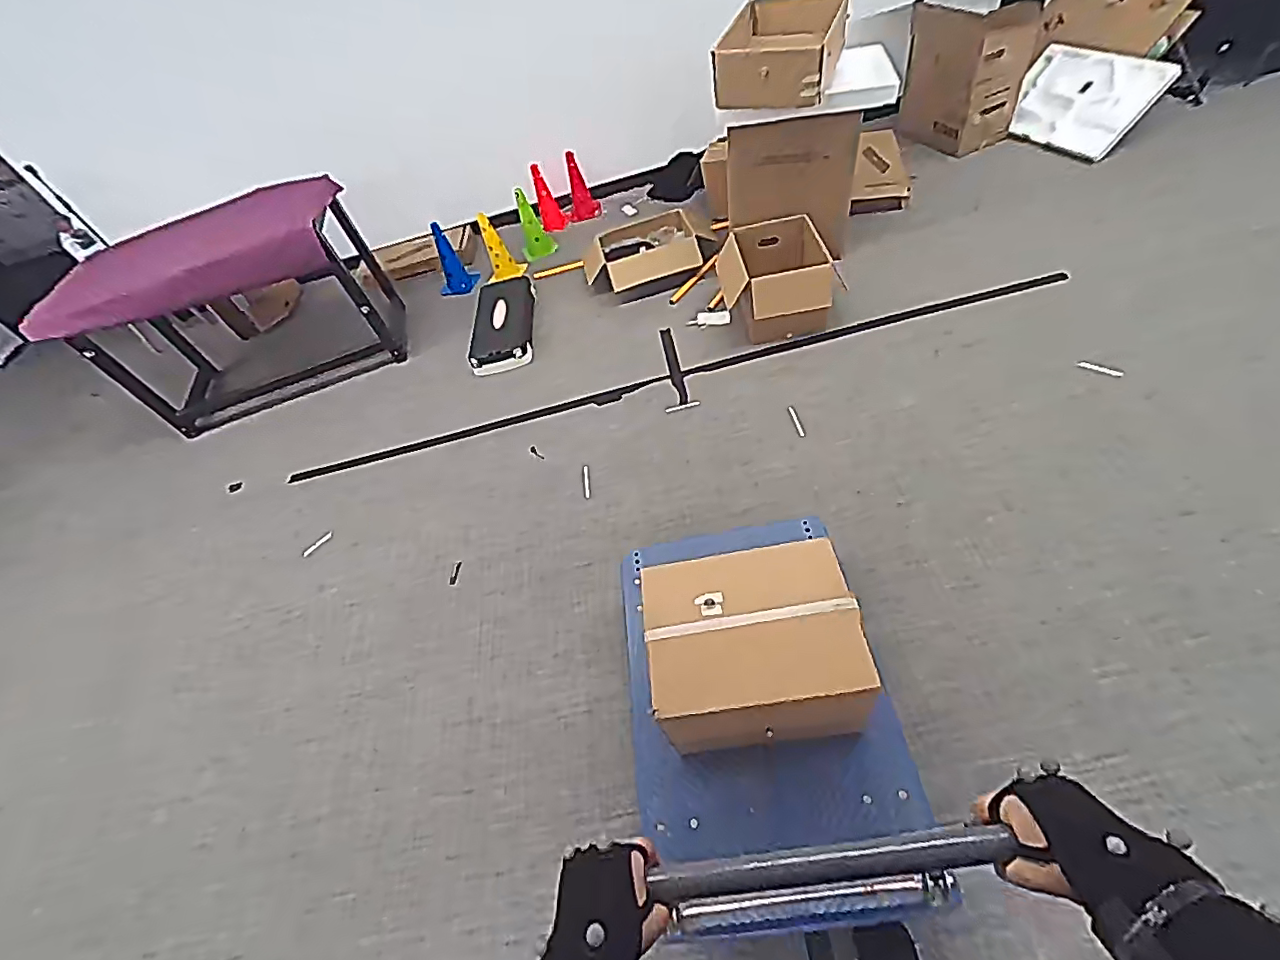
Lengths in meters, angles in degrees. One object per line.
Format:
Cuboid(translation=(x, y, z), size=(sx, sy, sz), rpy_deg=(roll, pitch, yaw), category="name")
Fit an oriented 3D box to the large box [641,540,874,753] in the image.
Cuboid(translation=(0.241, 0.373, 1.179), size=(0.408, 0.320, 0.320), rpy_deg=(-12, 49, 7), category="large box")
